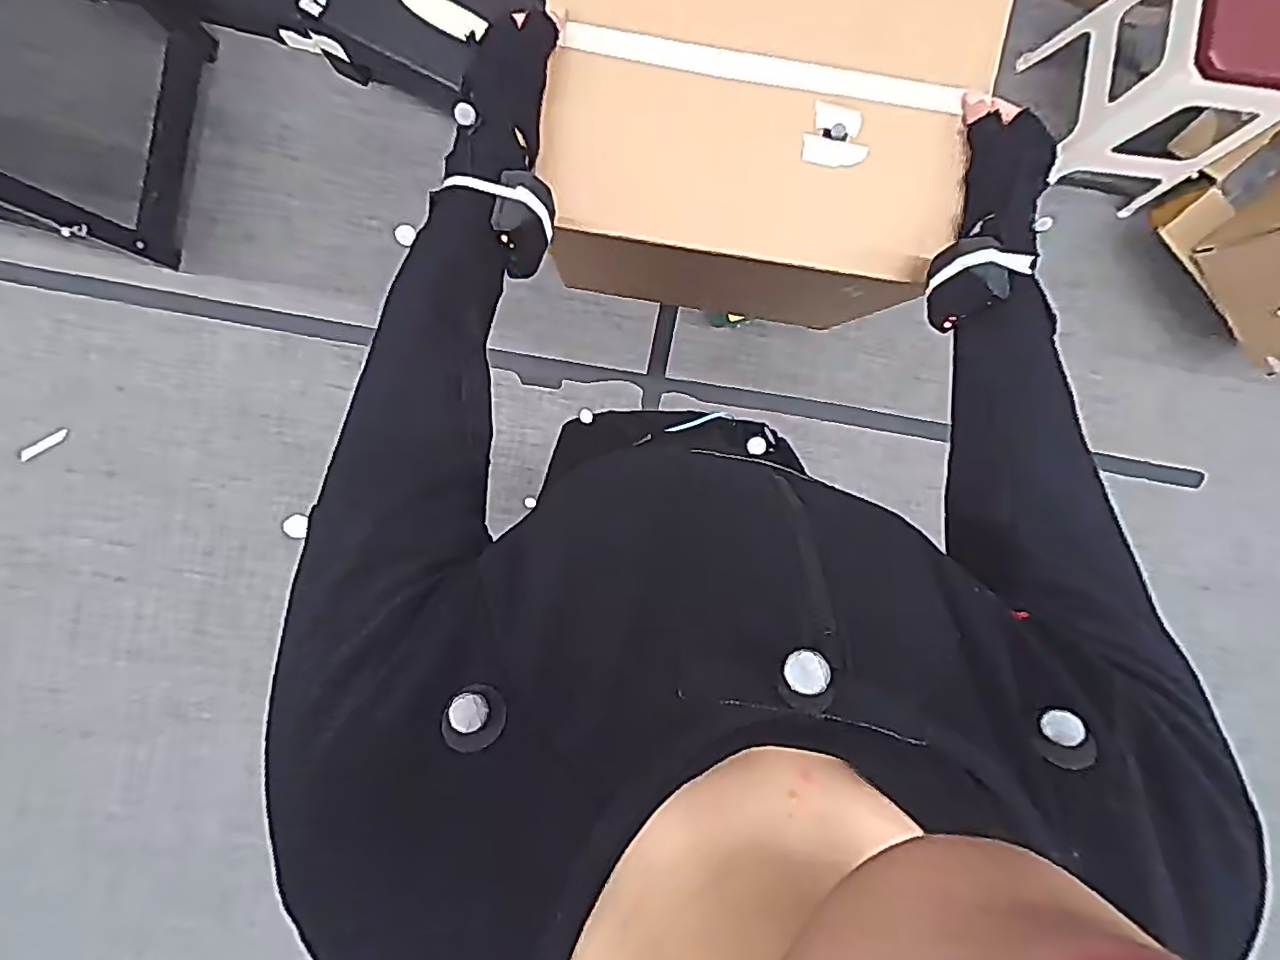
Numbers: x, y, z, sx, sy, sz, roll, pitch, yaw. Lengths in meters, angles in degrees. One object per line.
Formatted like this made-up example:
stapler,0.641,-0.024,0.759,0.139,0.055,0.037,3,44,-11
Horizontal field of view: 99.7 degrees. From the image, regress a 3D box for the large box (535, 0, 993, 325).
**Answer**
large box,0.107,-0.385,0.645,0.408,0.320,0.320,8,99,-4
